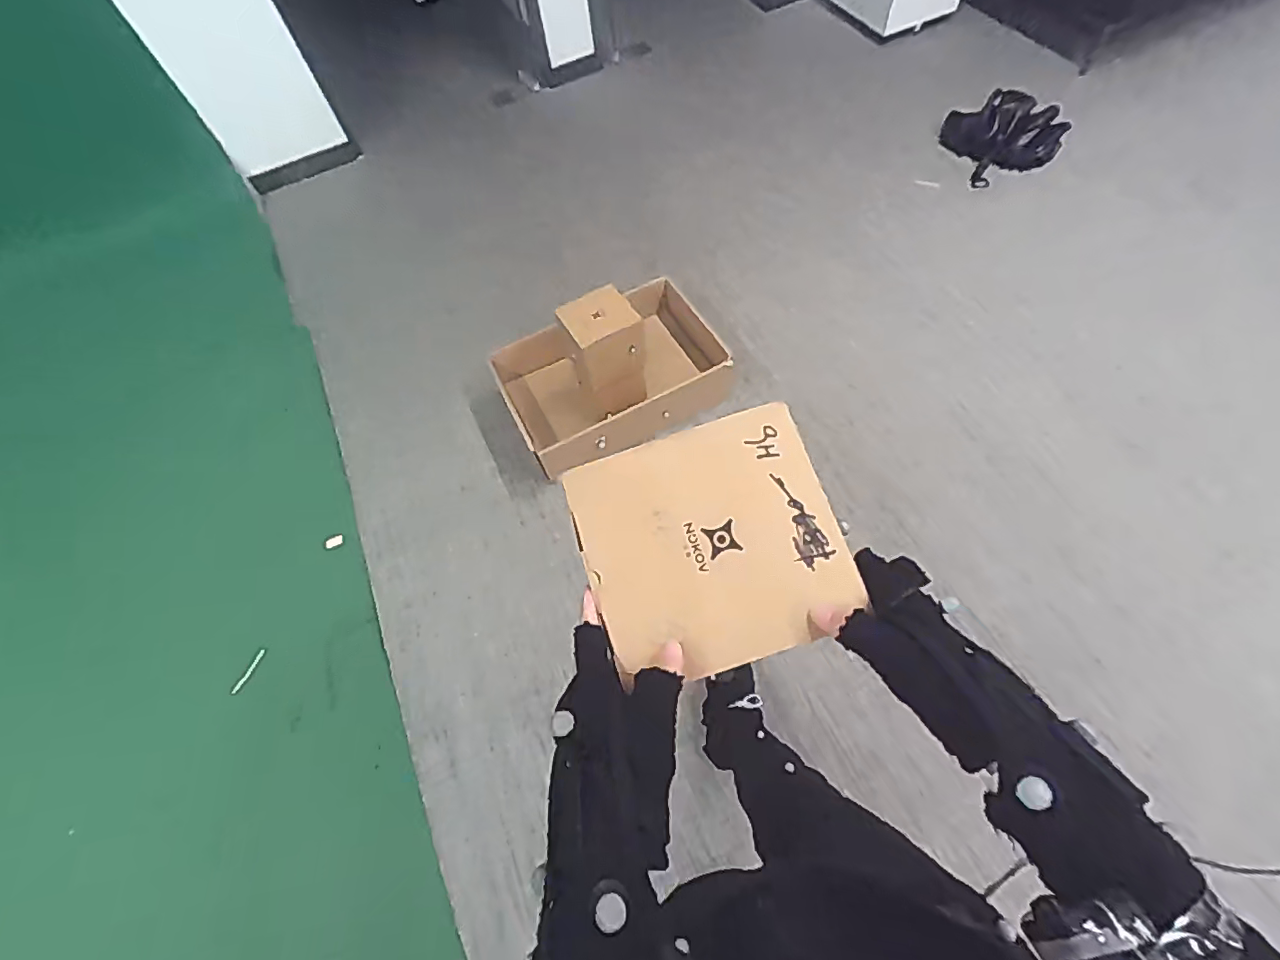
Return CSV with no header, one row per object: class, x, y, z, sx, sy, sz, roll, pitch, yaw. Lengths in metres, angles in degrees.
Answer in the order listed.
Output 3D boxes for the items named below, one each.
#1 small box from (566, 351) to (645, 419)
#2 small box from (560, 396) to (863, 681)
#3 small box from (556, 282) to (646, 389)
small box,-0.095,-0.302,1.587,0.168,0.176,0.179,-27,62,-9
small box,0.052,0.060,0.463,0.179,0.176,0.168,-21,73,-2
small box,-0.096,-0.377,1.425,0.179,0.176,0.168,-32,63,-13
